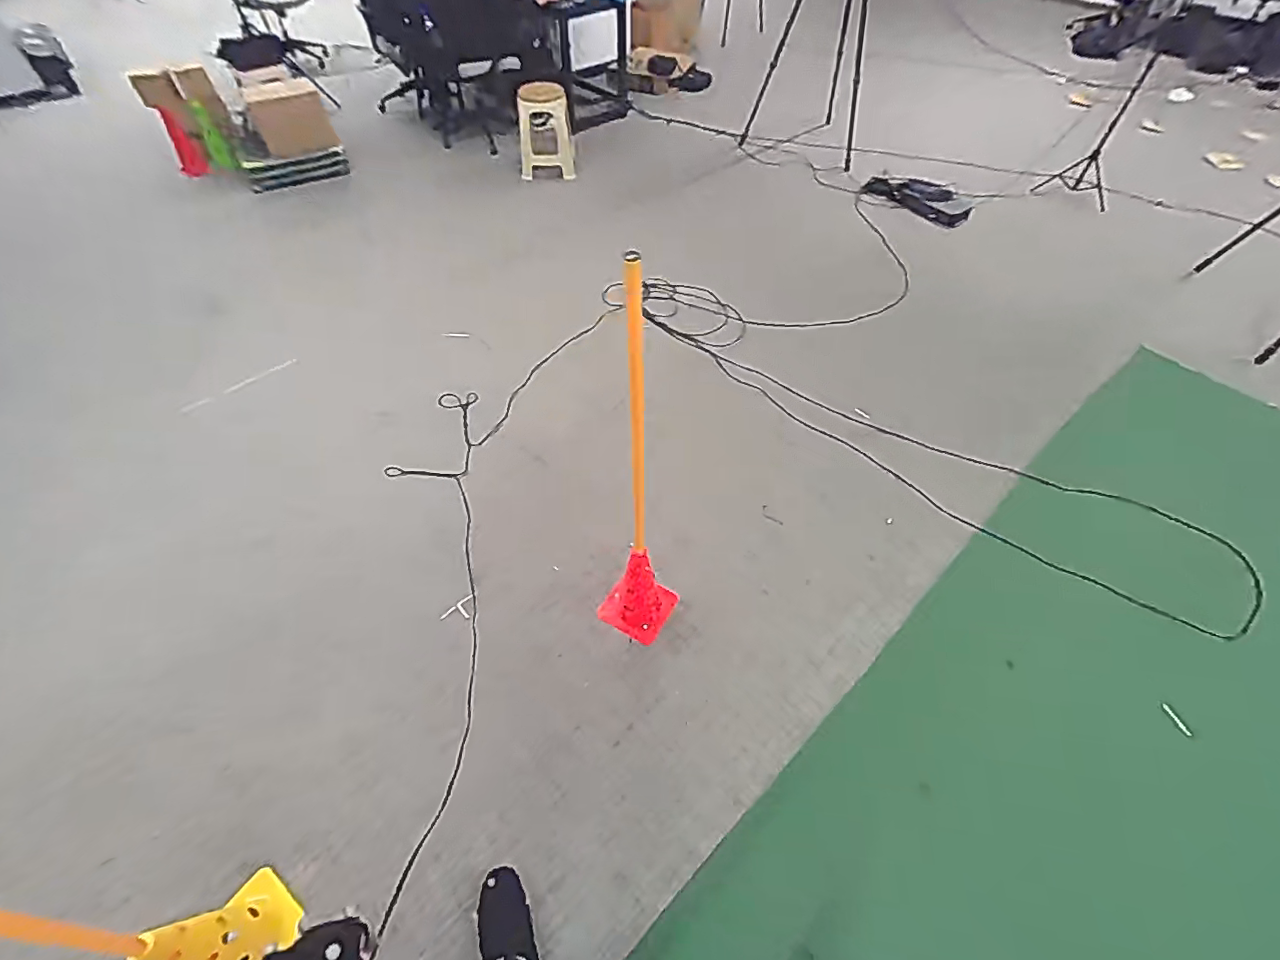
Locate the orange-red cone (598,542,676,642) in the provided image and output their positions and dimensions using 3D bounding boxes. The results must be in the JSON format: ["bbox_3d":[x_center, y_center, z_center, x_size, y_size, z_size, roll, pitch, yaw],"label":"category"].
[{"bbox_3d":[-0.004,0.288,1.580,0.198,0.360,0.199,28,55,18],"label":"orange-red cone"}]
